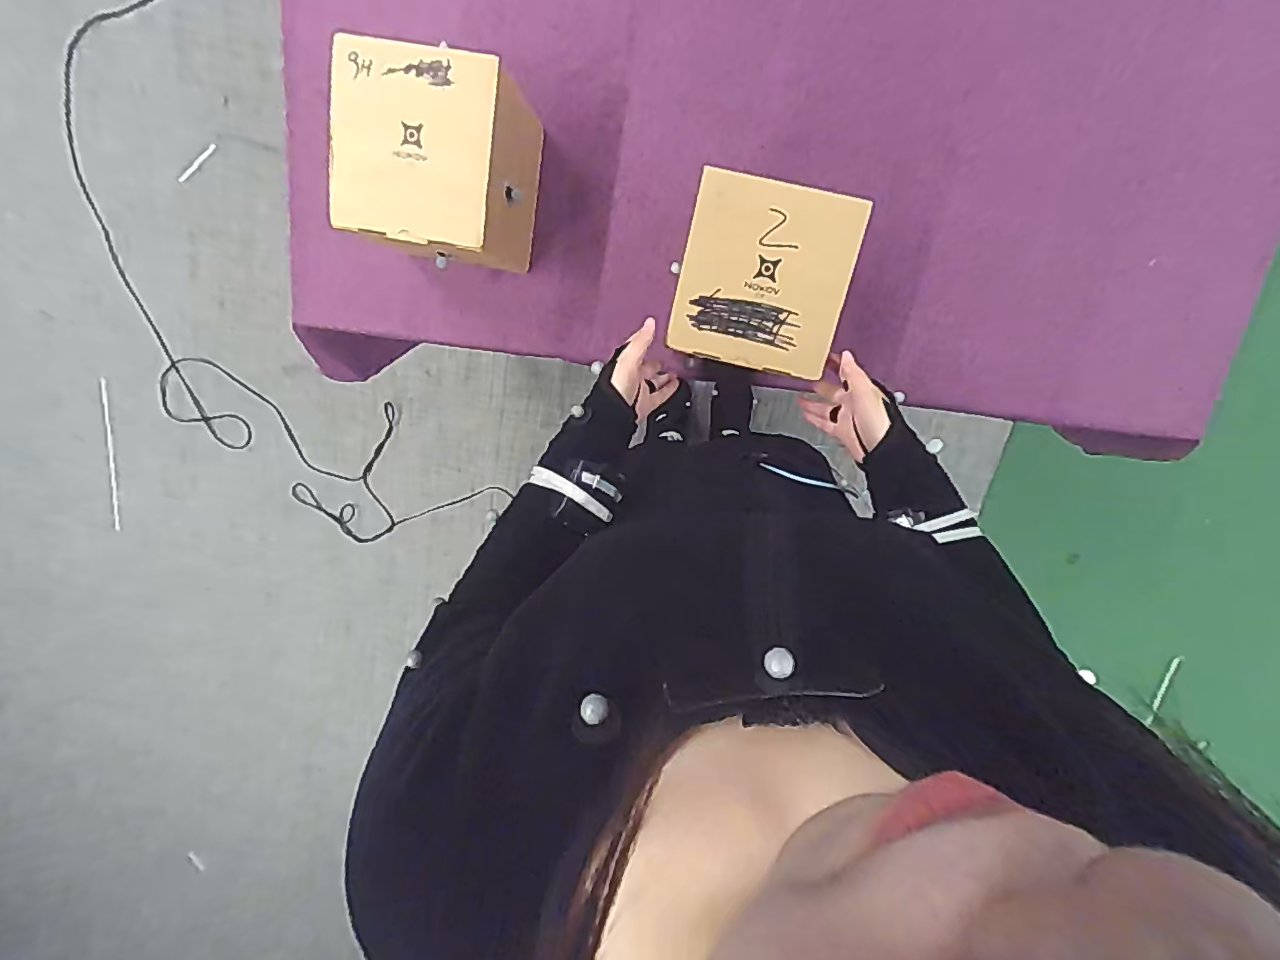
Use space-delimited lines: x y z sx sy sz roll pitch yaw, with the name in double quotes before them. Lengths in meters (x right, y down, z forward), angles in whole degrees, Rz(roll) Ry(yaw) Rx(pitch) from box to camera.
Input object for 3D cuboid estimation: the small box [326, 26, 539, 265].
"small box" -0.220 -0.352 0.607 0.168 0.176 0.179 11 105 1
